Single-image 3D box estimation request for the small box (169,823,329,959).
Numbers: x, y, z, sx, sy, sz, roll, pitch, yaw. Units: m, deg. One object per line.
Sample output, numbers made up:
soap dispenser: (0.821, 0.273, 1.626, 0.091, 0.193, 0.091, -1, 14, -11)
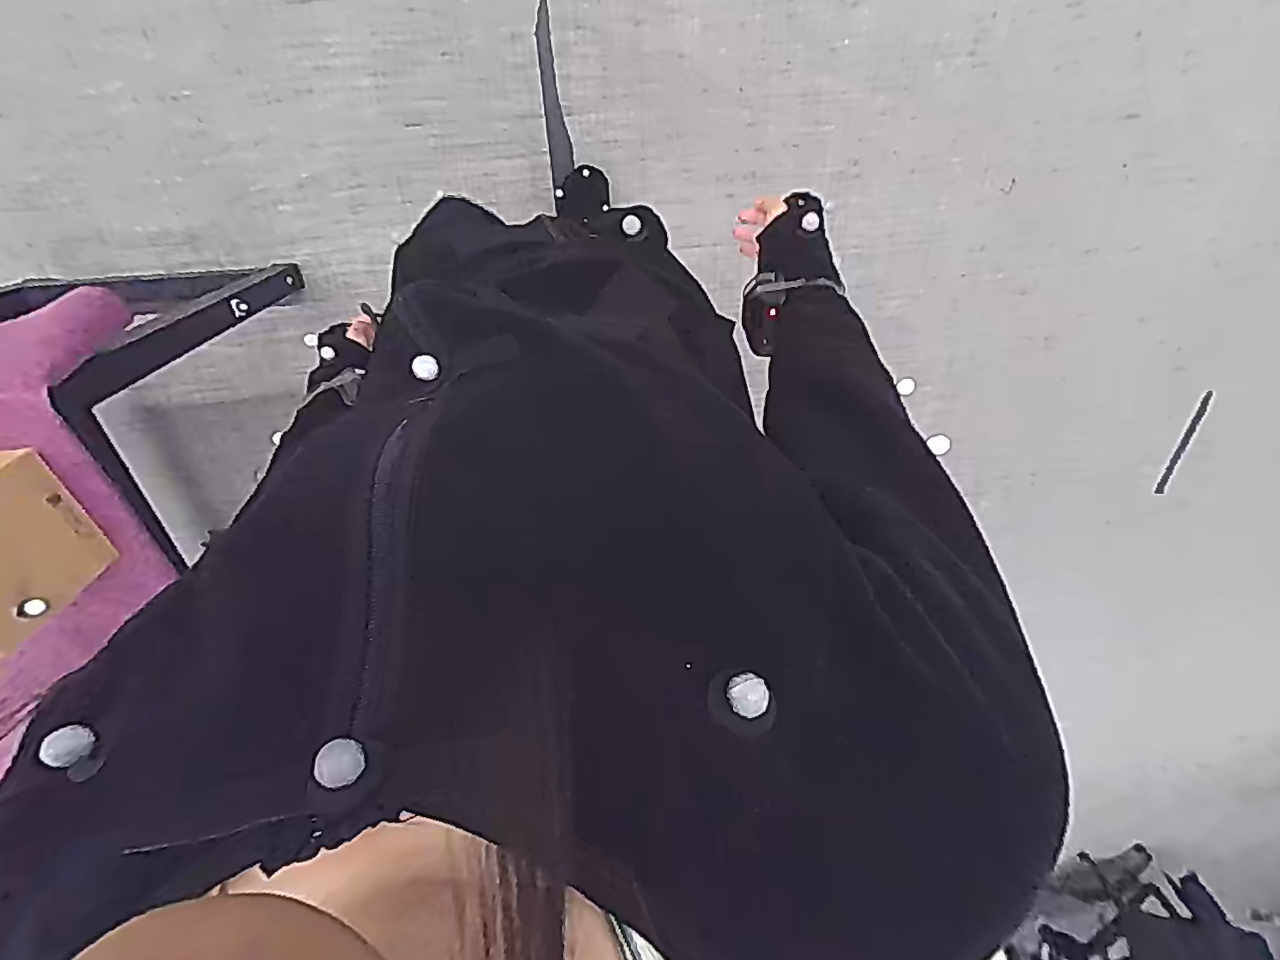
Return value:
small box: (-0.730, 0.788, 1.042, 0.179, 0.176, 0.168, -4, 121, -3)
